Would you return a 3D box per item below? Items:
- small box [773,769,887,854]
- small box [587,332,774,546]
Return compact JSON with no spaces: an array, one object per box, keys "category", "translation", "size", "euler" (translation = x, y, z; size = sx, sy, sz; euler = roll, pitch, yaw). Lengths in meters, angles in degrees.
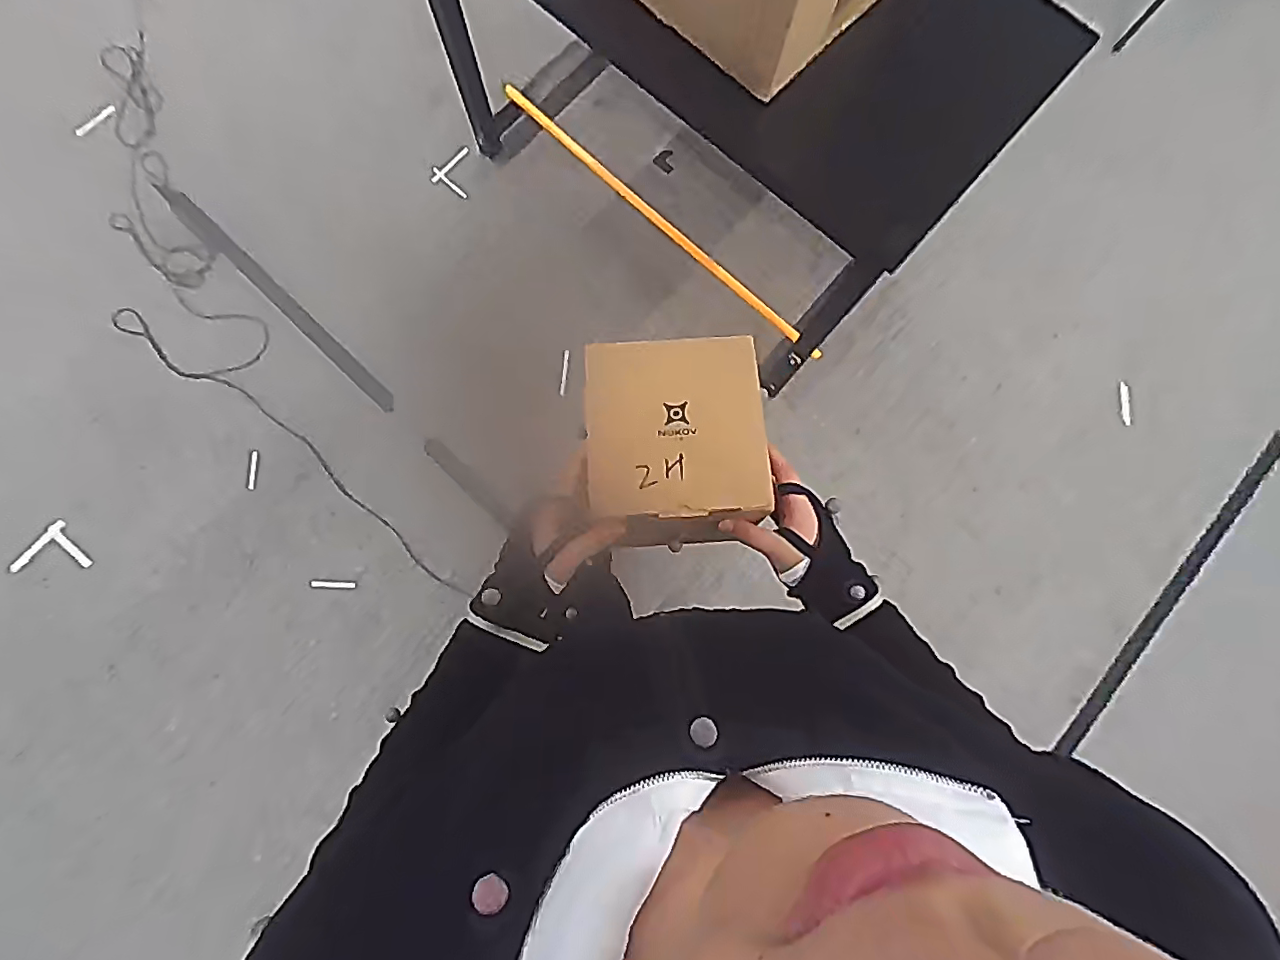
[{"category":"small box","translation":[0.460,0.852,1.331],"size":[0.179,0.176,0.168],"euler":[37,81,5]},{"category":"small box","translation":[0.033,-0.034,0.573],"size":[0.168,0.176,0.179],"euler":[-4,73,0]}]
